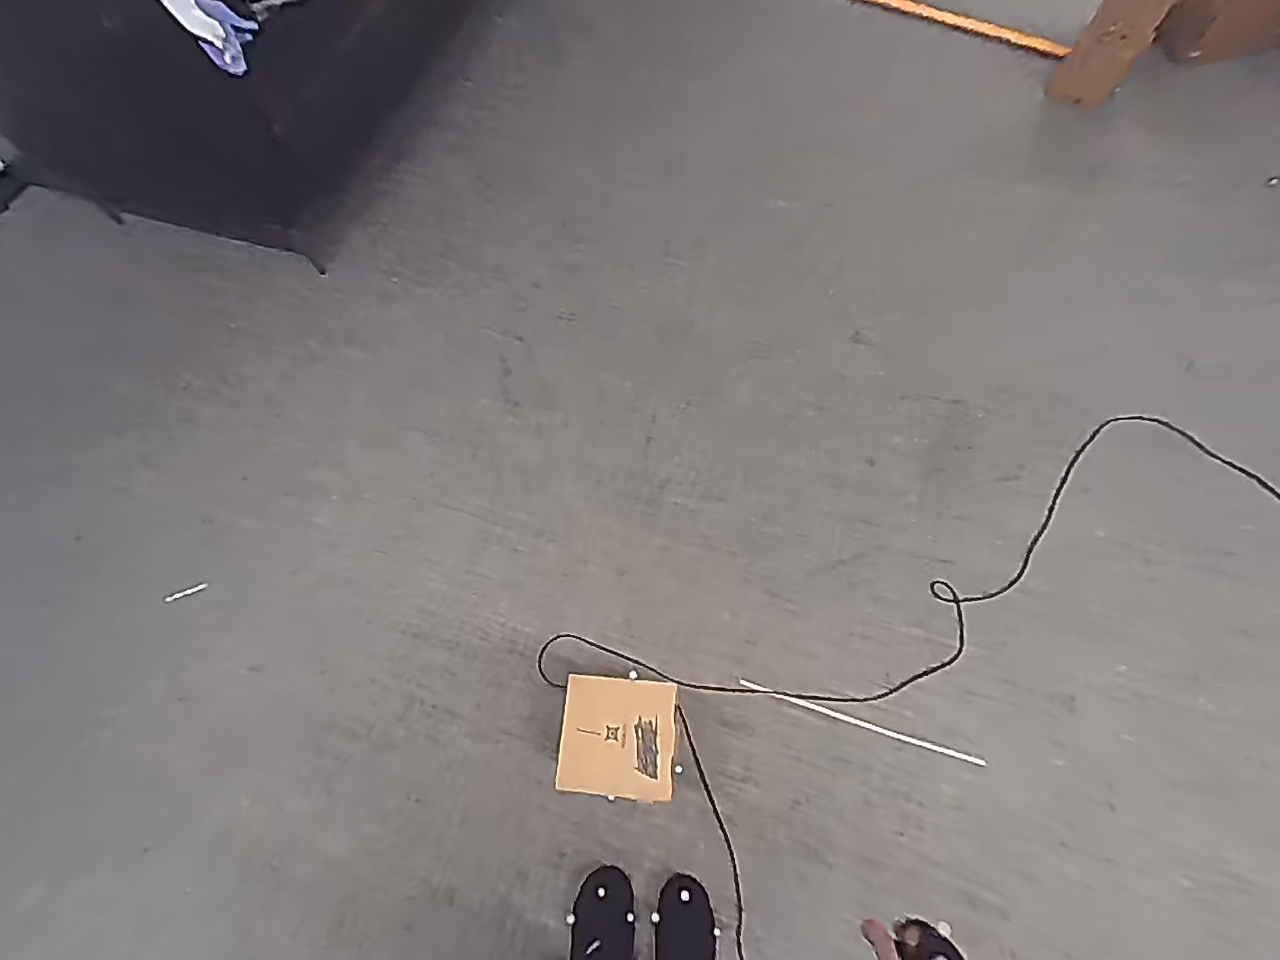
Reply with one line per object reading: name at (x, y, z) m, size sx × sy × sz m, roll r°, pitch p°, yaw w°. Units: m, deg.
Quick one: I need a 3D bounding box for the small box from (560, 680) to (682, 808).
small box at (-0.020, 0.431, 0.902) m, size 0.179 × 0.176 × 0.168 m, roll 2°, pitch 67°, yaw 7°
